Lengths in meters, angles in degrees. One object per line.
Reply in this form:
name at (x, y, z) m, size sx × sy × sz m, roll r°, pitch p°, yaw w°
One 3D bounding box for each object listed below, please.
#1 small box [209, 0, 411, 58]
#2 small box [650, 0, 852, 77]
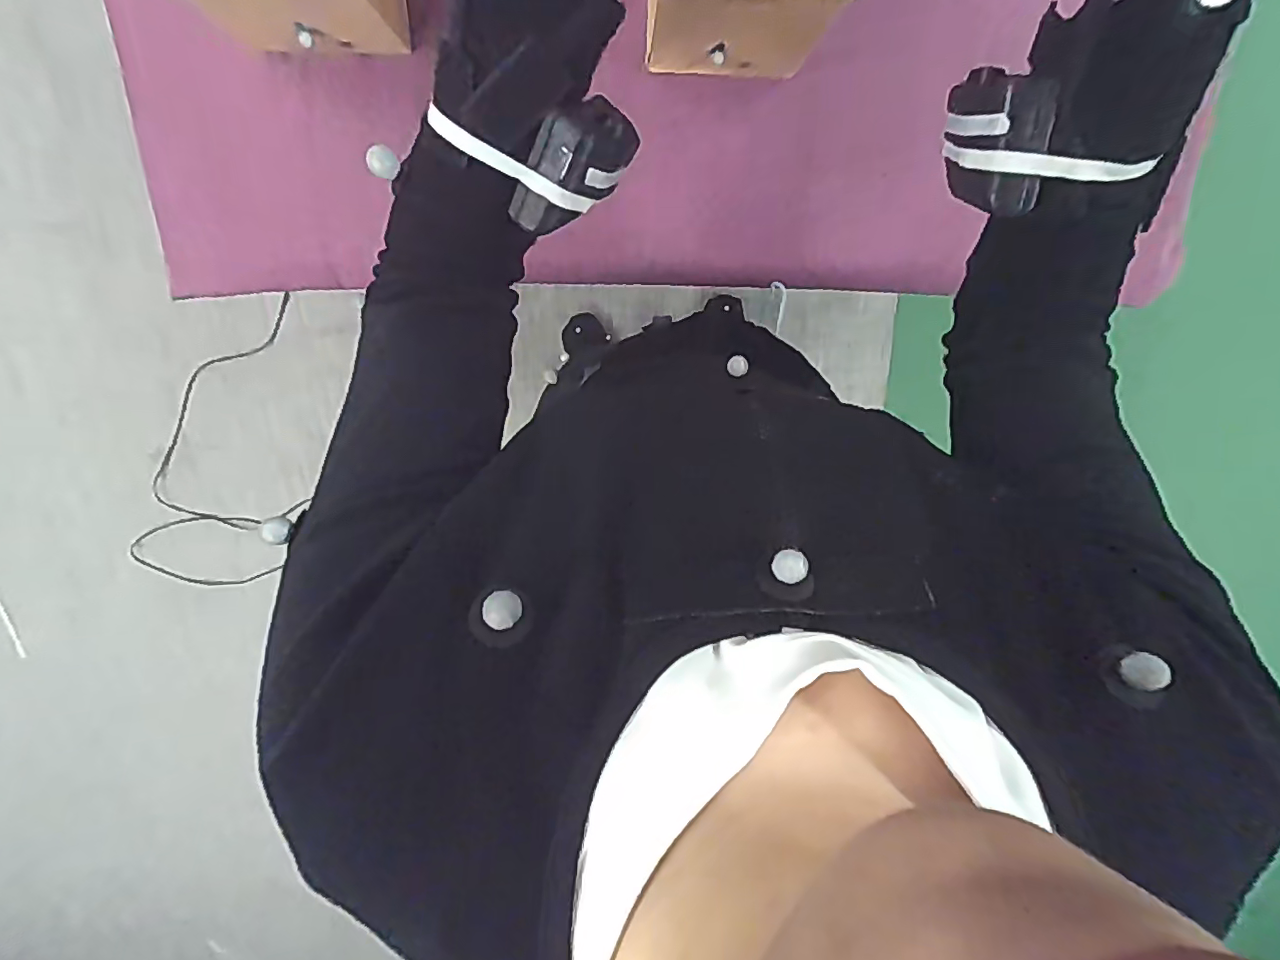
small box at (-0.318, -0.514, 0.475) m, size 0.168 × 0.176 × 0.179 m, roll 0°, pitch 108°, yaw -2°
small box at (0.097, -0.509, 0.497) m, size 0.168 × 0.176 × 0.179 m, roll 0°, pitch 109°, yaw -2°
